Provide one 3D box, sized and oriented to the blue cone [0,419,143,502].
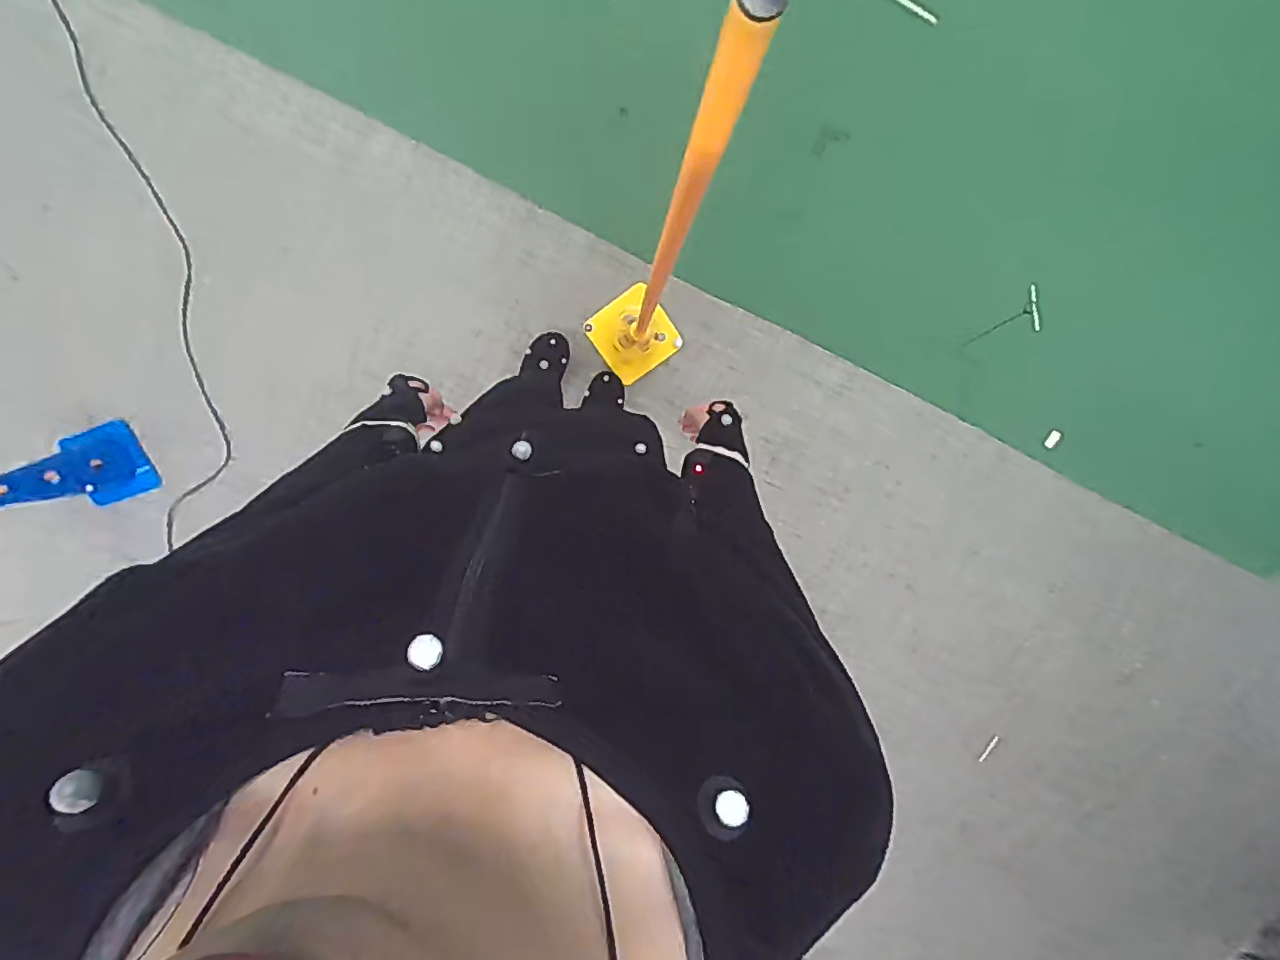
[{"bbox_3d":[-1.413,-0.001,1.251,0.193,0.380,0.192,-19,105,4],"label":"blue cone"}]
